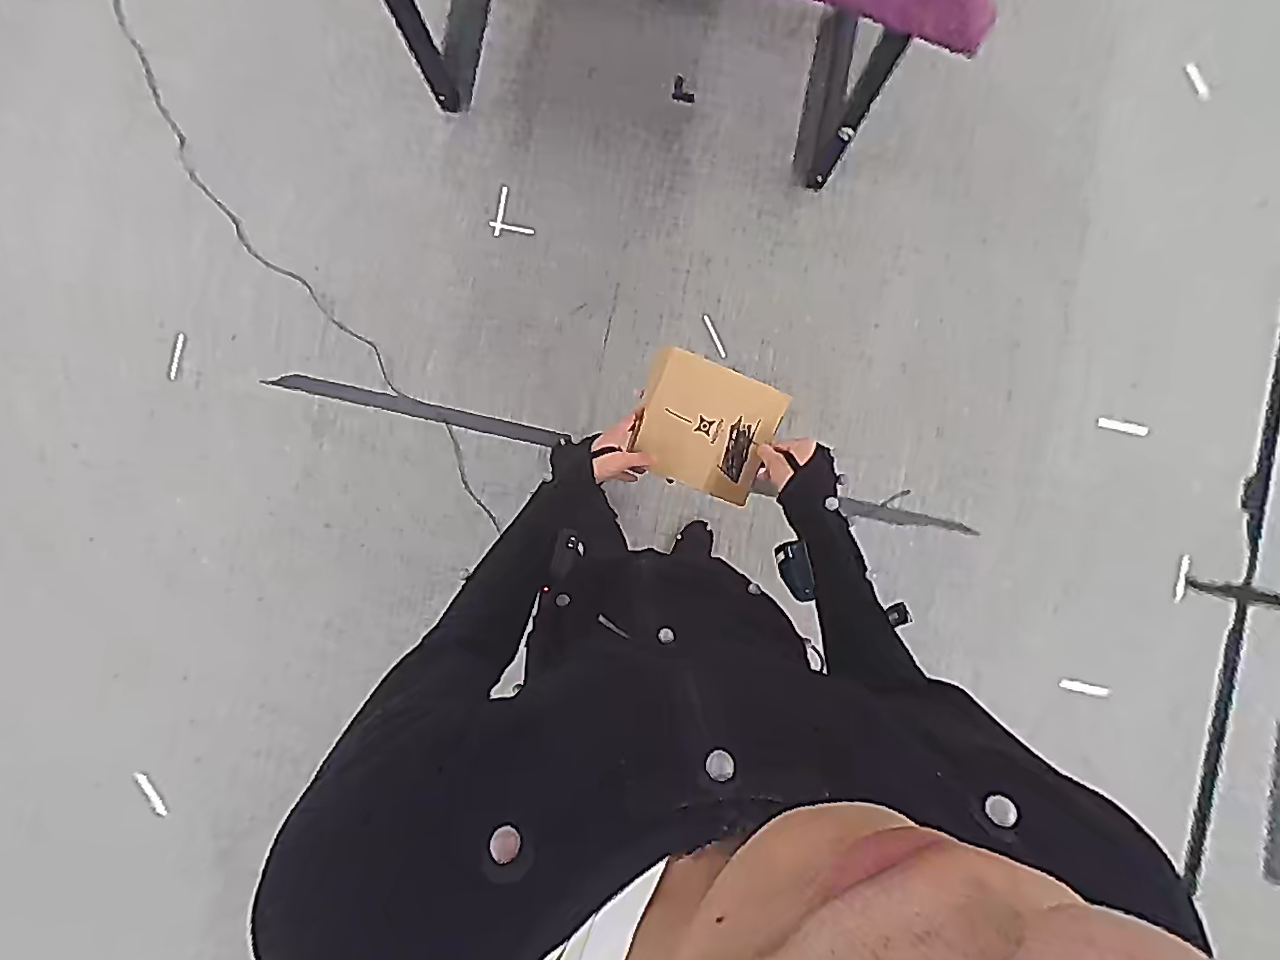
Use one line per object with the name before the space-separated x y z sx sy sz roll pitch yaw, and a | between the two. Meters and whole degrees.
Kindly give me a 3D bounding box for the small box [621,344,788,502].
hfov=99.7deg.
small box | 0.082 -0.089 0.792 0.179 0.176 0.168 21 99 -8
